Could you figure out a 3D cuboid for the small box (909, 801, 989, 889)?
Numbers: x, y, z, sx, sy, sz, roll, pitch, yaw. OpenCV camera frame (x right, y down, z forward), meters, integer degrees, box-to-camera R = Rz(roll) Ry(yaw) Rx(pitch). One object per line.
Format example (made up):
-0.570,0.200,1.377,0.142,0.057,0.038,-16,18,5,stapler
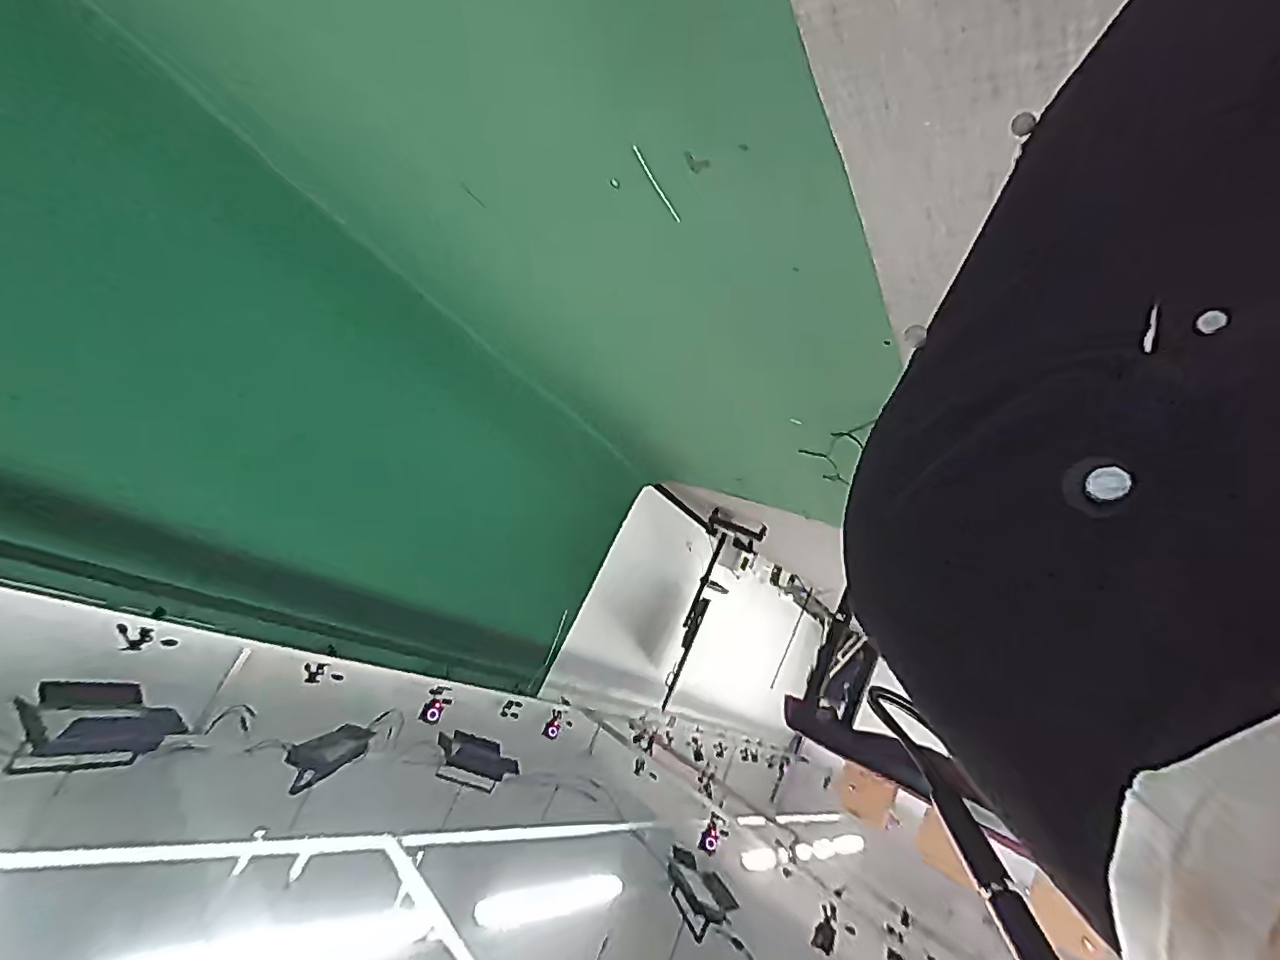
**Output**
1.001,1.169,1.749,0.179,0.176,0.168,17,166,42,small box

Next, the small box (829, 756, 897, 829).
0.800,1.111,1.934,0.168,0.176,0.179,18,166,38,small box
